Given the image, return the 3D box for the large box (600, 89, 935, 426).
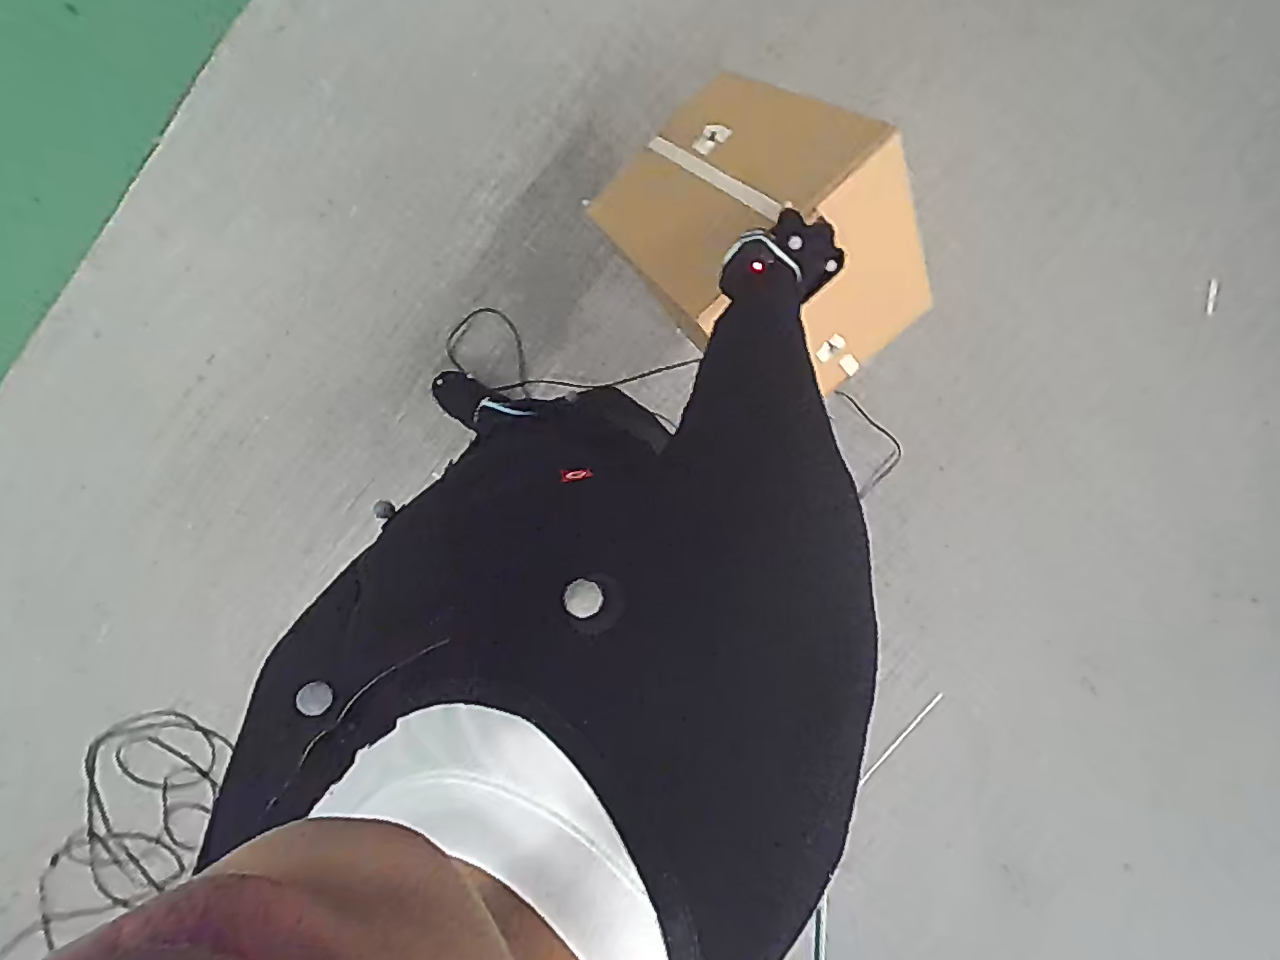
[{"bbox_3d":[0.201,-0.366,0.903,0.320,0.408,0.320,-40,138,10],"label":"large box"}]
